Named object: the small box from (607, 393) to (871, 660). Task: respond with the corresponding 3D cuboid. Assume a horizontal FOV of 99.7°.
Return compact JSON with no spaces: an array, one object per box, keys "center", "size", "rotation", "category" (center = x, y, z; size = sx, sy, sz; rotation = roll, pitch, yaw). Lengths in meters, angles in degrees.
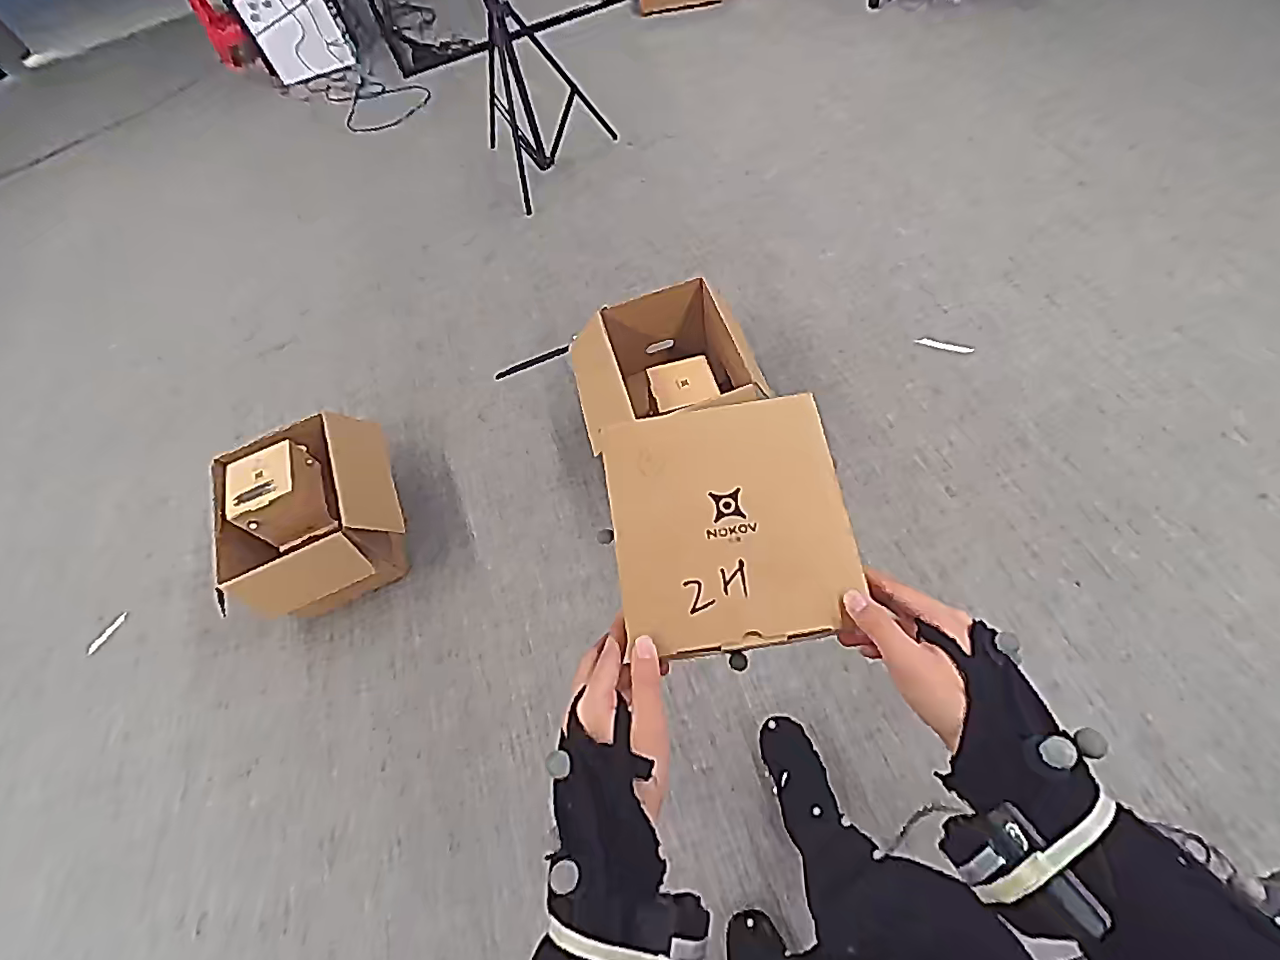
[{"center":[0.068,0.051,0.464],"size":[0.168,0.176,0.179],"rotation":[-9,69,1],"category":"small box"}]
